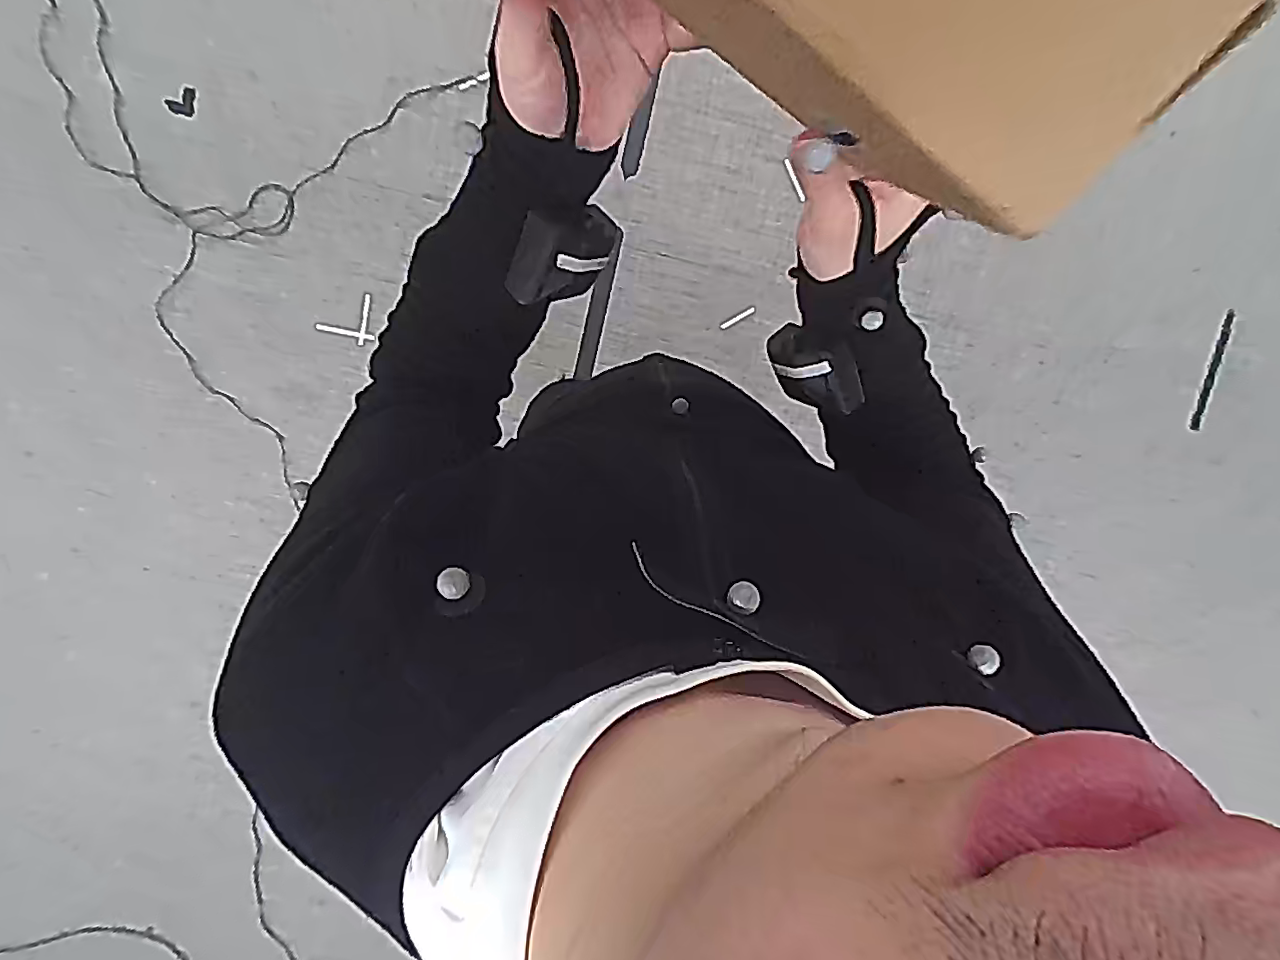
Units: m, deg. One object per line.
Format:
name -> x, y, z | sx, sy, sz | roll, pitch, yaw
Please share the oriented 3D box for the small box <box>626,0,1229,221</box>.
small box -> 0.078, -0.212, 0.158 | 0.179, 0.176, 0.168 | 24, 122, -16
